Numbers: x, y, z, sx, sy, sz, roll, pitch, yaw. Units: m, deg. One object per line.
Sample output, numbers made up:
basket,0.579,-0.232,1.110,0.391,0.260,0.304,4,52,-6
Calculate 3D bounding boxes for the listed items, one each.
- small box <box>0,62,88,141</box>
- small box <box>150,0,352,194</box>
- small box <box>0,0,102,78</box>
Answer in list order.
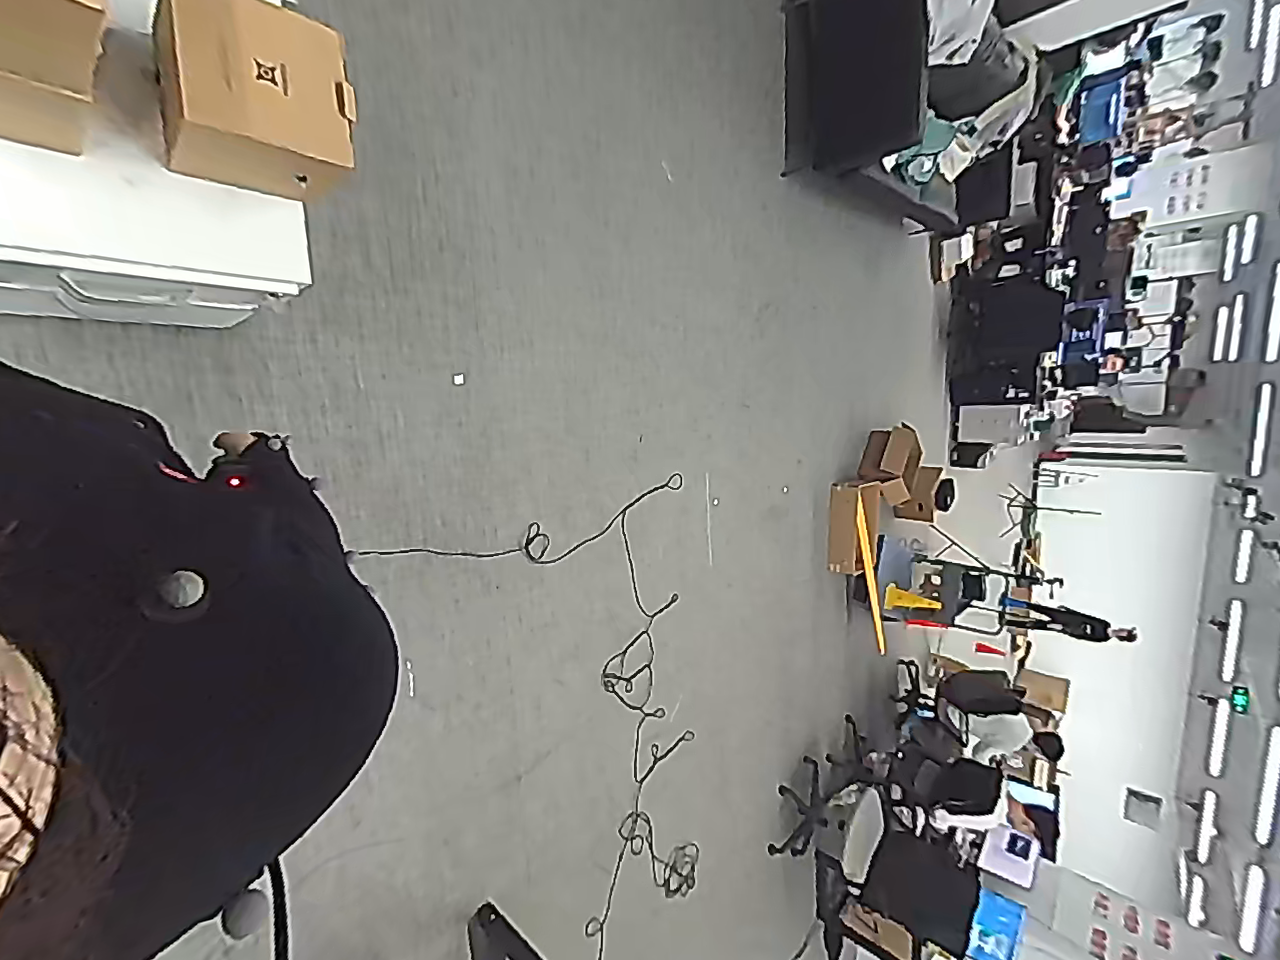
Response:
small box,-0.658,-0.454,0.510,0.179,0.176,0.168,-9,102,-48
small box,-0.494,-0.489,0.690,0.179,0.176,0.168,-8,100,-45
small box,-0.536,-0.445,0.400,0.179,0.176,0.168,-11,103,-49
